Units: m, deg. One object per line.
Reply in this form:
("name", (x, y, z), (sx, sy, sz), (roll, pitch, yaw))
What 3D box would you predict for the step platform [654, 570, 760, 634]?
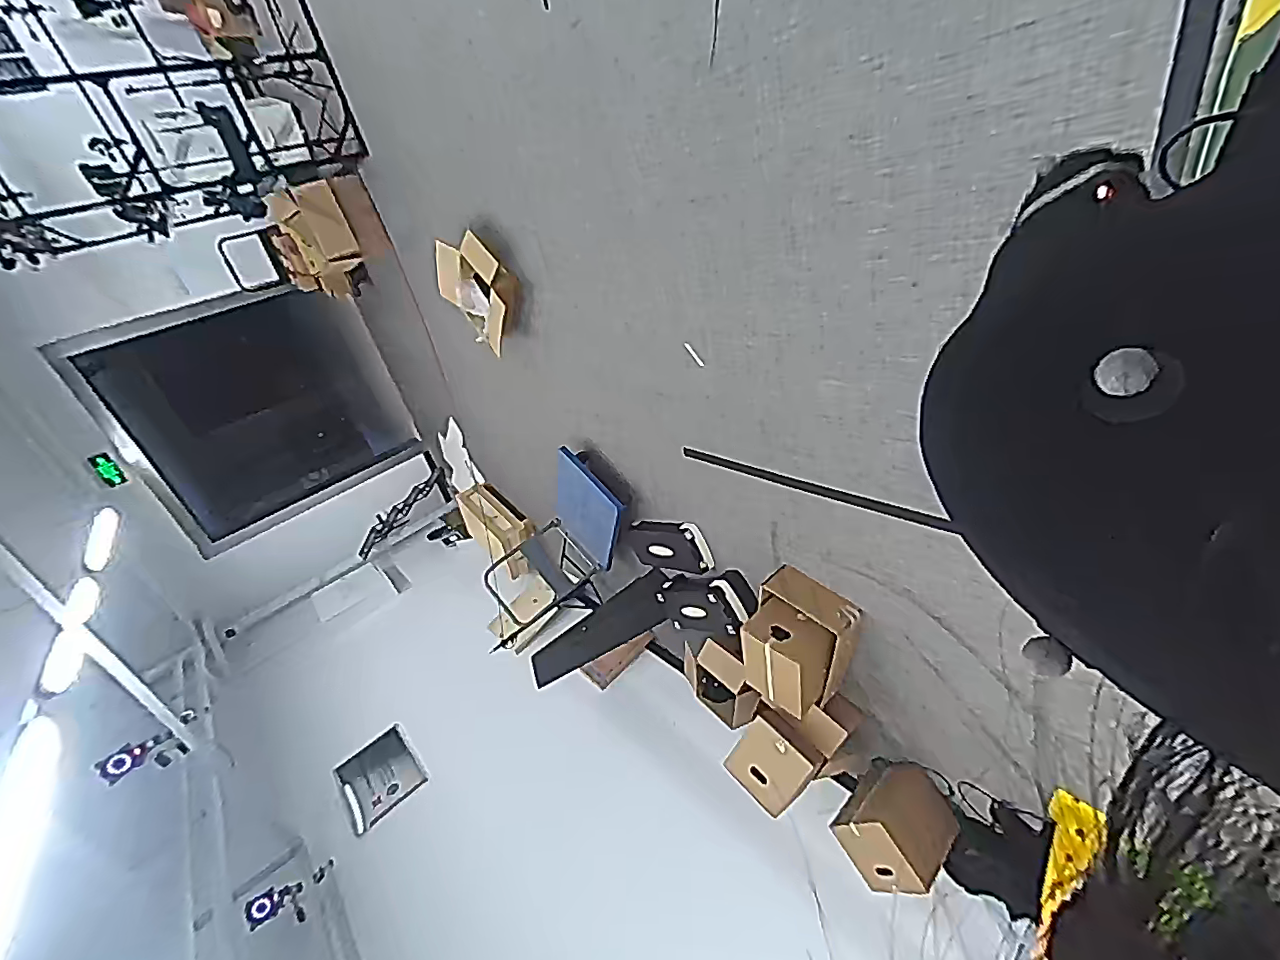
("step platform", (0.355, 0.696, 3.075), (0.286, 0.204, 0.684), (59, 150, -4))
